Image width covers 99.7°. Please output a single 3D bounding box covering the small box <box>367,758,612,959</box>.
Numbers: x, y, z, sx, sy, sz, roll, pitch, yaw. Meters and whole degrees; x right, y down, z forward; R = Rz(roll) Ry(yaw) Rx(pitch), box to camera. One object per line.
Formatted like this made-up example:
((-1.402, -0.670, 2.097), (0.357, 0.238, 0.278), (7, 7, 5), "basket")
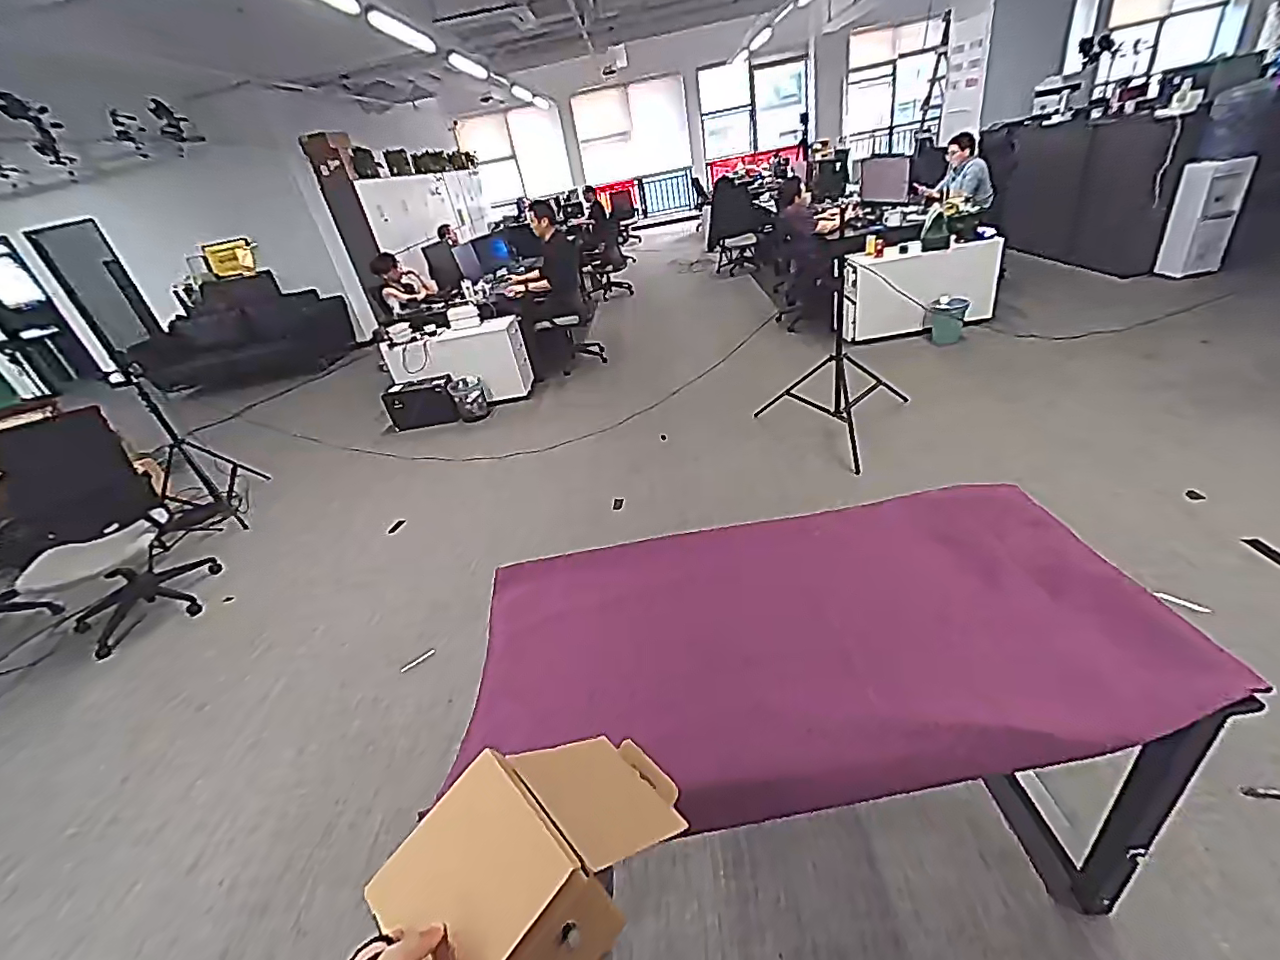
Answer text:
((-0.147, 0.453, 0.579), (0.179, 0.176, 0.168), (-36, 42, -27), "small box")
